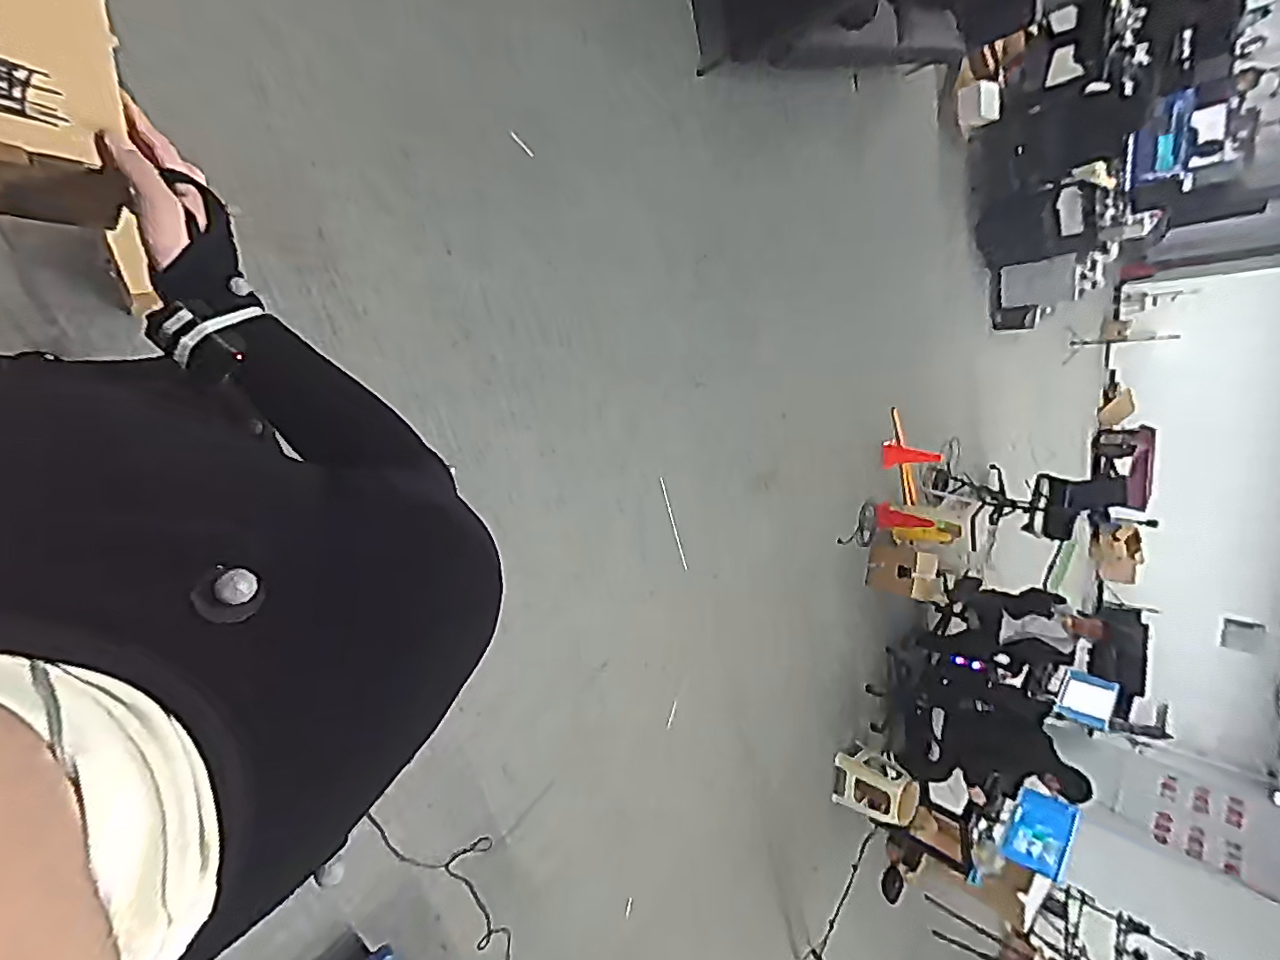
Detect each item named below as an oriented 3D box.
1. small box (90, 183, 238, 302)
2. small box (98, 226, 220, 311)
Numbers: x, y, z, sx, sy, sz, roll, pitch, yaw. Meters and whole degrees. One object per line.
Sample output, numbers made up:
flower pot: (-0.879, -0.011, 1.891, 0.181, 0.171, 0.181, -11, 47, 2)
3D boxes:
small box: (-0.917, -0.452, 1.045, 0.168, 0.176, 0.179, -24, 112, -39)
small box: (-1.029, -0.464, 1.159, 0.168, 0.176, 0.179, -16, 108, -38)
